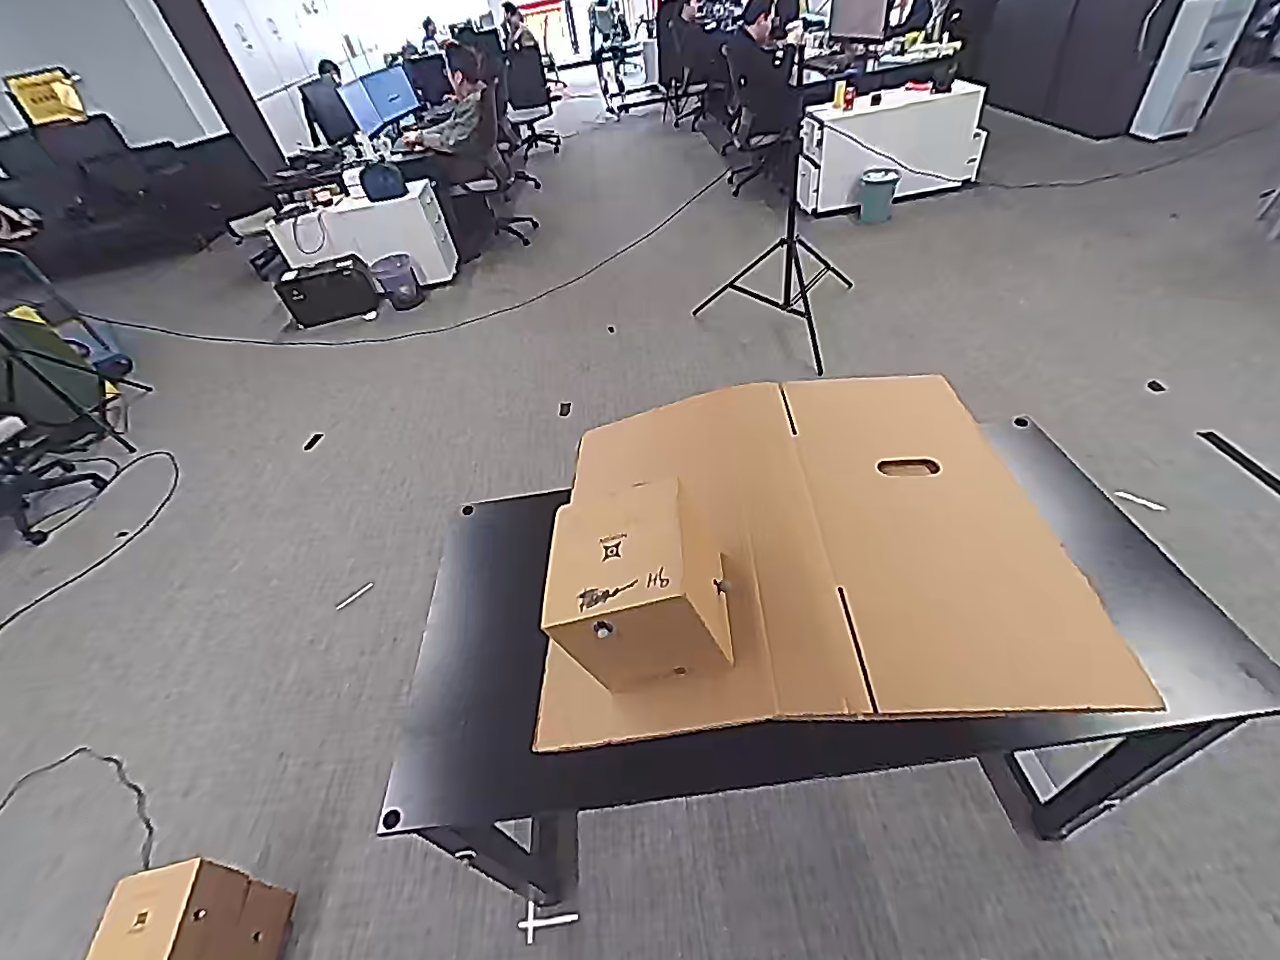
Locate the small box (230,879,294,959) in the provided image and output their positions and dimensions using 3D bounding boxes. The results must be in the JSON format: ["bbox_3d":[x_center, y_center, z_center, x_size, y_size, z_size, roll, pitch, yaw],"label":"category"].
[{"bbox_3d":[-0.916,1.029,1.208,0.168,0.176,0.179,-12,44,0],"label":"small box"}]

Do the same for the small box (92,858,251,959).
[{"bbox_3d":[-0.942,0.909,1.101,0.168,0.176,0.179,-13,42,-3],"label":"small box"}]

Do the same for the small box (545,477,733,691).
[{"bbox_3d":[0.007,0.130,0.663,0.168,0.176,0.179,-18,41,17],"label":"small box"}]
